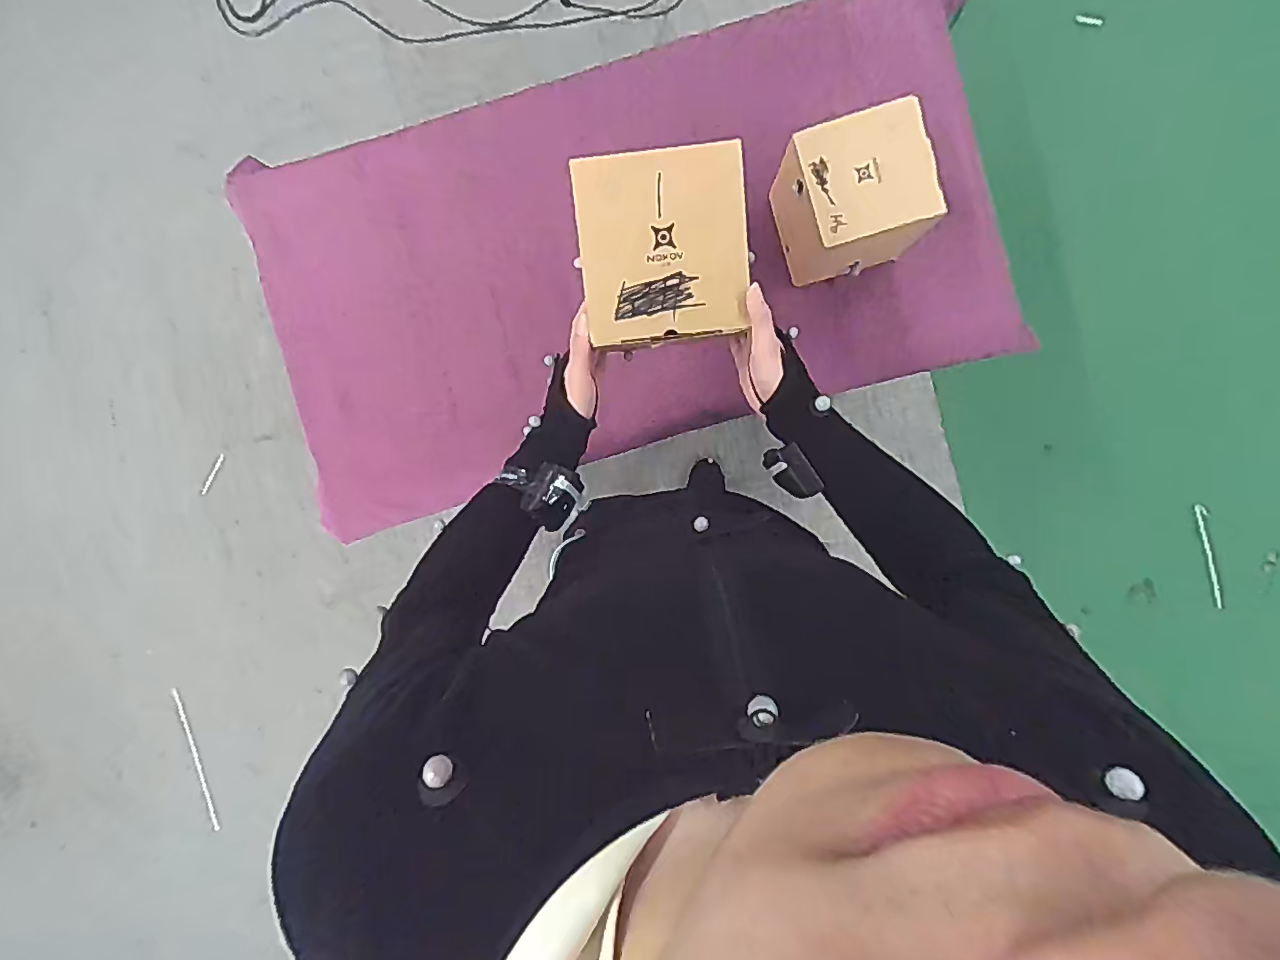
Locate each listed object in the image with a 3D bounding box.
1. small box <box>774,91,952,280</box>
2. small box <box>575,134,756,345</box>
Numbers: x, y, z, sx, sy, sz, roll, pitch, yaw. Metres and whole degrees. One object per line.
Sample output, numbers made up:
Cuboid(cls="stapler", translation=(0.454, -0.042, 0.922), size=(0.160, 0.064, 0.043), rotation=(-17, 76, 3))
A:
Cuboid(cls="small box", translation=(0.319, -0.424, 0.808), size=(0.179, 0.176, 0.168), rotation=(-16, 91, 2))
Cuboid(cls="small box", translation=(0.029, -0.244, 0.596), size=(0.168, 0.176, 0.179), rotation=(-6, 101, 2))
